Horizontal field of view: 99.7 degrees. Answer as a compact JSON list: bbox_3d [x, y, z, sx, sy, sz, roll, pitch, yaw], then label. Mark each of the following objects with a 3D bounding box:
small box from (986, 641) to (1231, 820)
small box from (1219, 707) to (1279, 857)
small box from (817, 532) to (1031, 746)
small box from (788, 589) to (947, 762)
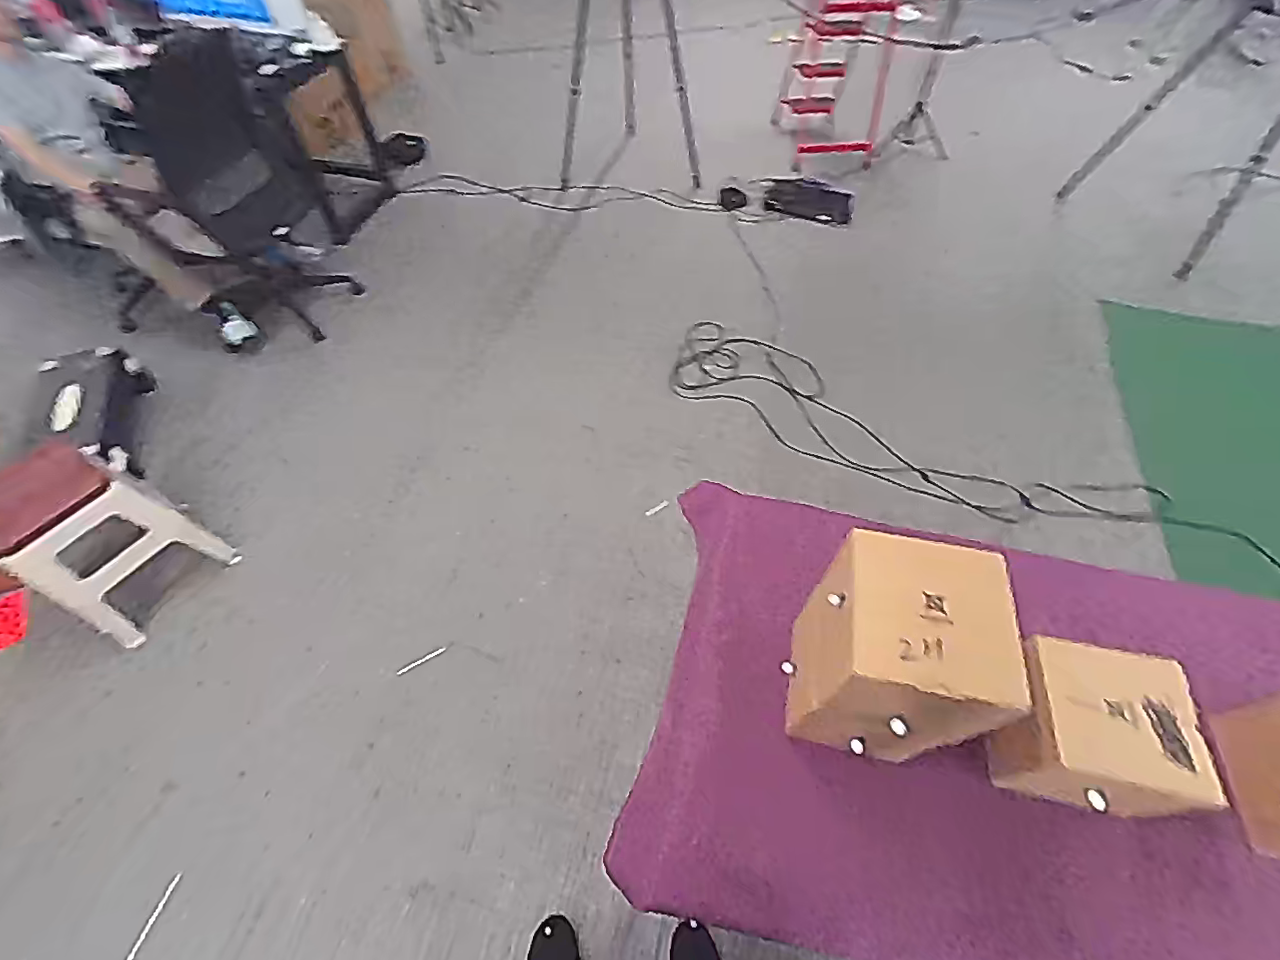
[{"bbox_3d":[0.595,0.339,0.723,0.179,0.176,0.168,10,54,9],"label":"small box"},{"bbox_3d":[0.907,0.397,0.674,0.168,0.176,0.179,11,54,9],"label":"small box"},{"bbox_3d":[0.312,0.189,0.635,0.168,0.176,0.179,10,55,9],"label":"small box"},{"bbox_3d":[0.313,0.284,0.770,0.168,0.176,0.179,11,56,8],"label":"small box"}]
